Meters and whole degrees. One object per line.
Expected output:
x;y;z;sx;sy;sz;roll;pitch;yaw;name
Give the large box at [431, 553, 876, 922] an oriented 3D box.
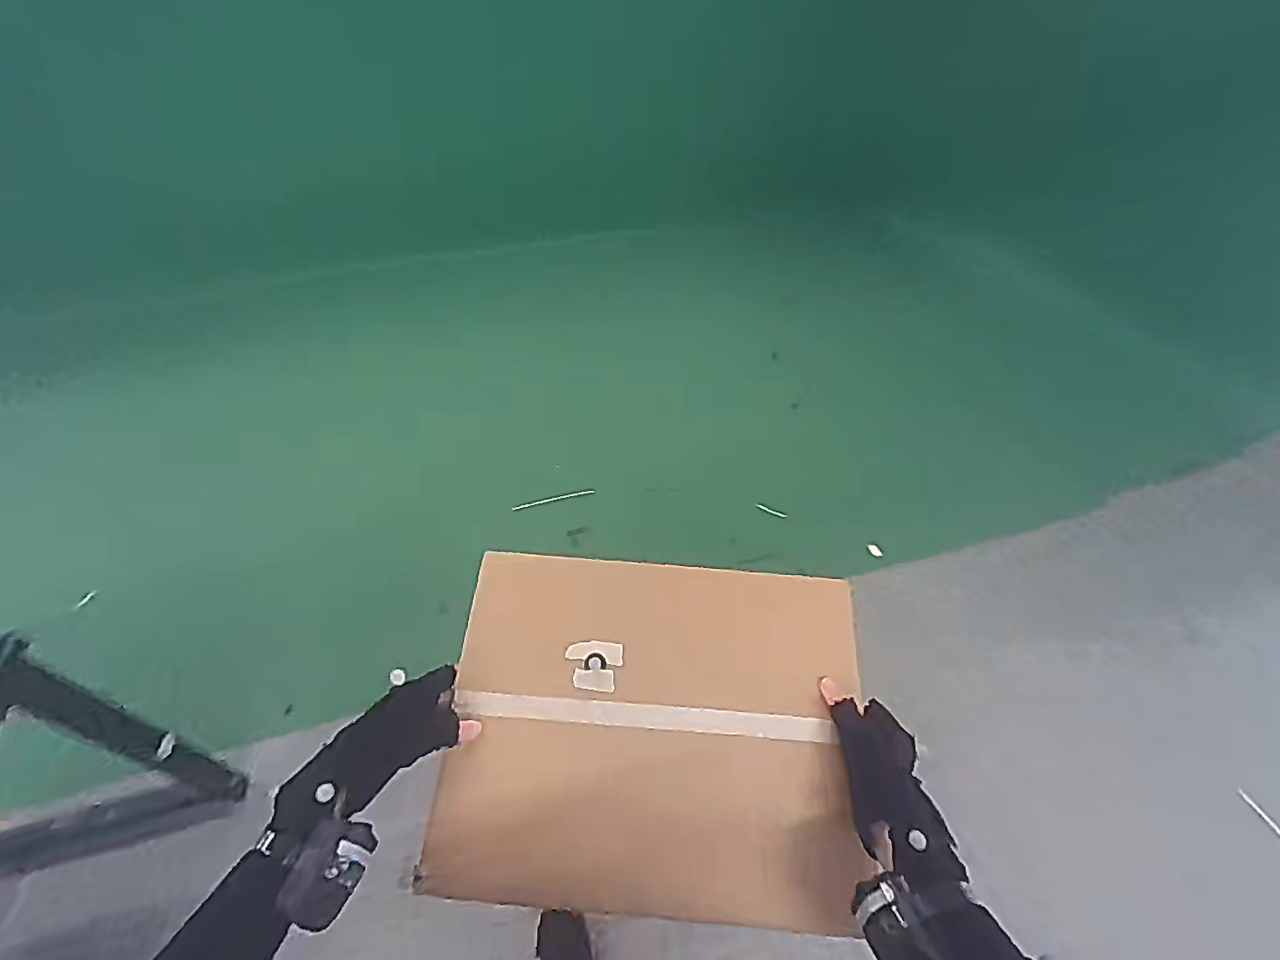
0.023;0.297;0.674;0.408;0.320;0.320;4;63;3;large box
